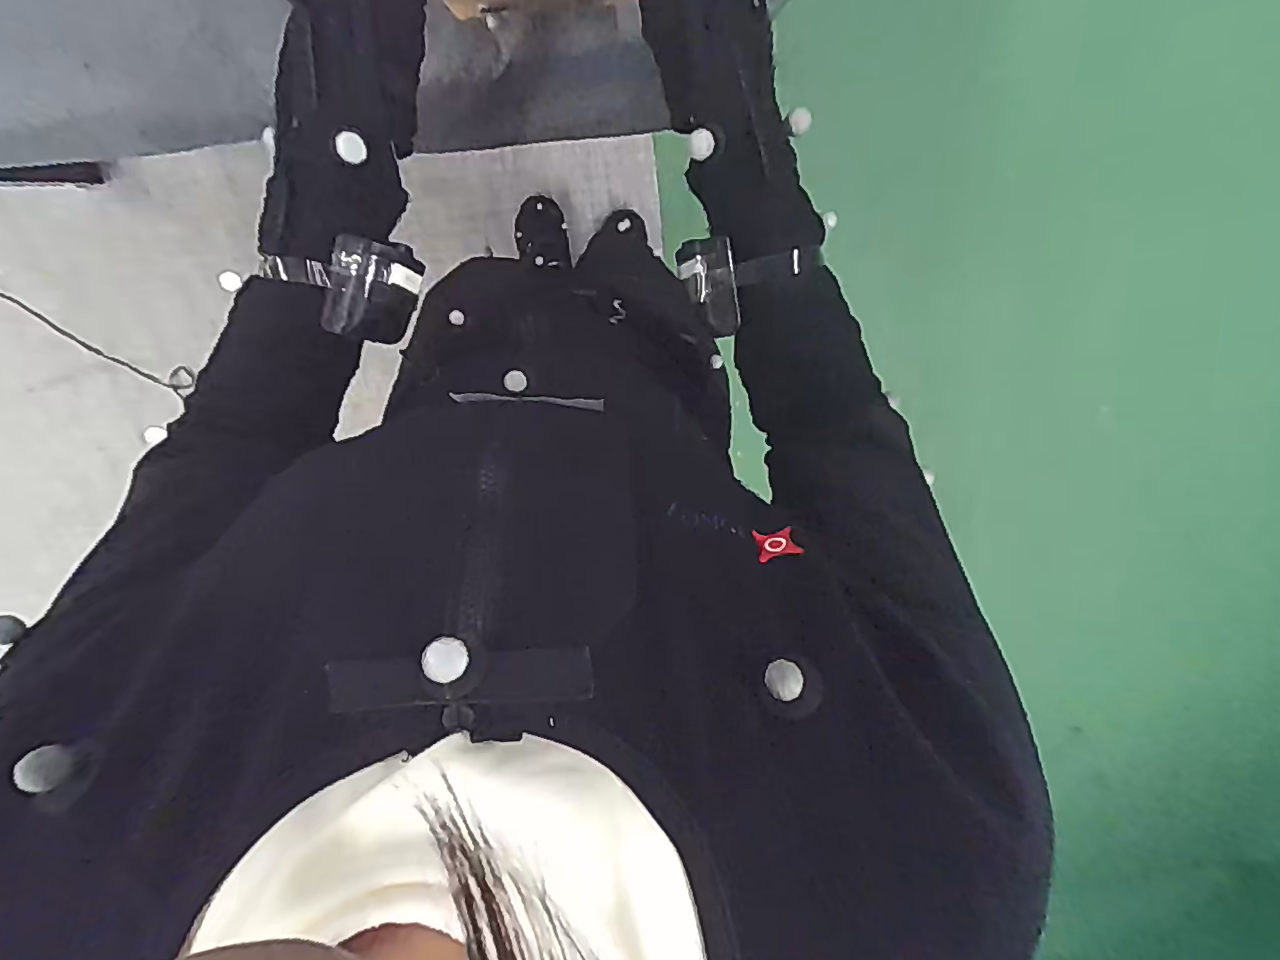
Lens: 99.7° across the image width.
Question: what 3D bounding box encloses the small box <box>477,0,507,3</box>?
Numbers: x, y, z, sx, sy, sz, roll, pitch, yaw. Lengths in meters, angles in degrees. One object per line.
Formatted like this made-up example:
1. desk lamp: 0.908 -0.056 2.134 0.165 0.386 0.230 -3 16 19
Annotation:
1. small box: -0.069 -0.419 0.325 0.168 0.176 0.179 -8 120 -2
